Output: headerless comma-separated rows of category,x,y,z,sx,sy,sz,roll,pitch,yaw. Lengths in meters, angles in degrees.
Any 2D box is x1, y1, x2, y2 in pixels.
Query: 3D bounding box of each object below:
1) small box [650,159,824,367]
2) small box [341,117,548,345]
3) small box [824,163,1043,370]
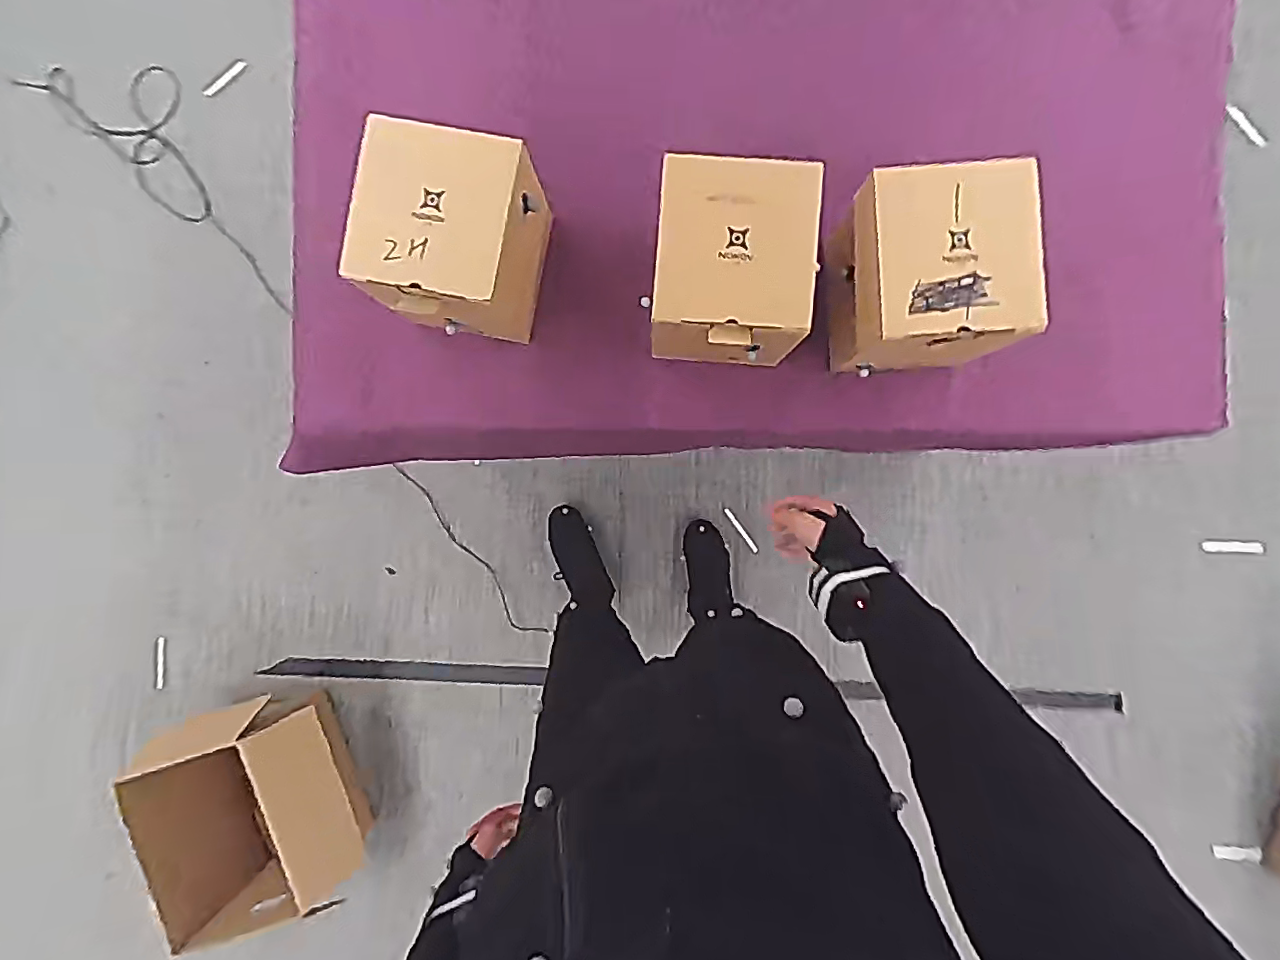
small box,0.101,-0.237,0.633,0.168,0.176,0.179,5,90,1
small box,-0.213,-0.277,0.639,0.168,0.176,0.179,11,90,2
small box,0.322,-0.229,0.626,0.168,0.176,0.179,-3,88,2
